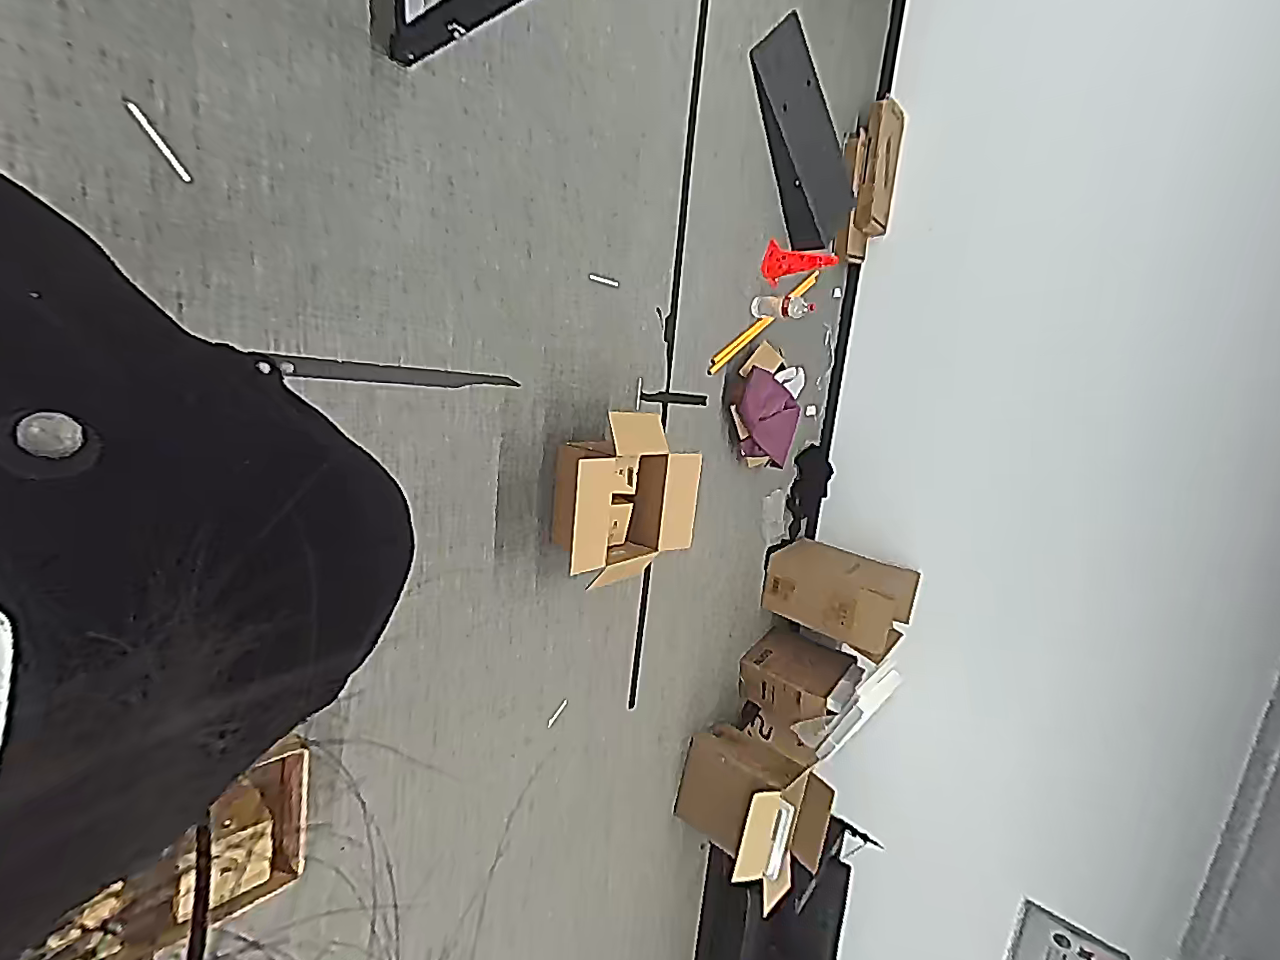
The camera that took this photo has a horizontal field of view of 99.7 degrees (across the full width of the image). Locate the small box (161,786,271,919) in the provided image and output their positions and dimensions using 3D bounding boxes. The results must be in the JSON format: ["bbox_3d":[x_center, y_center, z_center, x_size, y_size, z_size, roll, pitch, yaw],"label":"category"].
[{"bbox_3d":[-1.020,0.879,1.301,0.179,0.176,0.168,0,100,-49],"label":"small box"}]
